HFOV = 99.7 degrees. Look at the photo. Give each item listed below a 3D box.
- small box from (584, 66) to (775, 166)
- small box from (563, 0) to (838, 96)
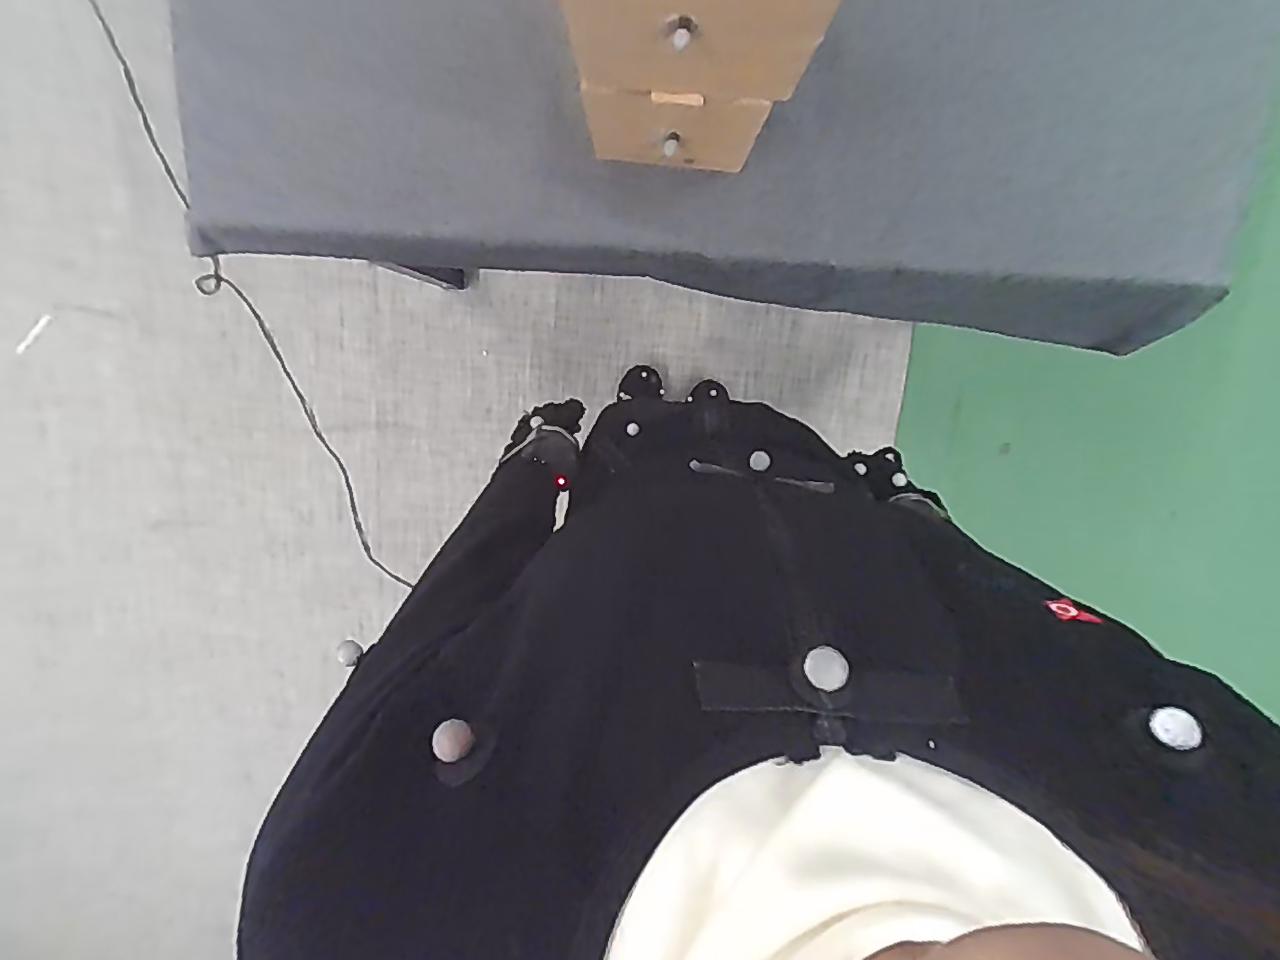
[{"bbox_3d":[0.044,-0.424,0.518,0.168,0.176,0.179,5,103,1],"label":"small box"},{"bbox_3d":[0.044,-0.385,0.357,0.179,0.176,0.168,5,102,2],"label":"small box"}]
